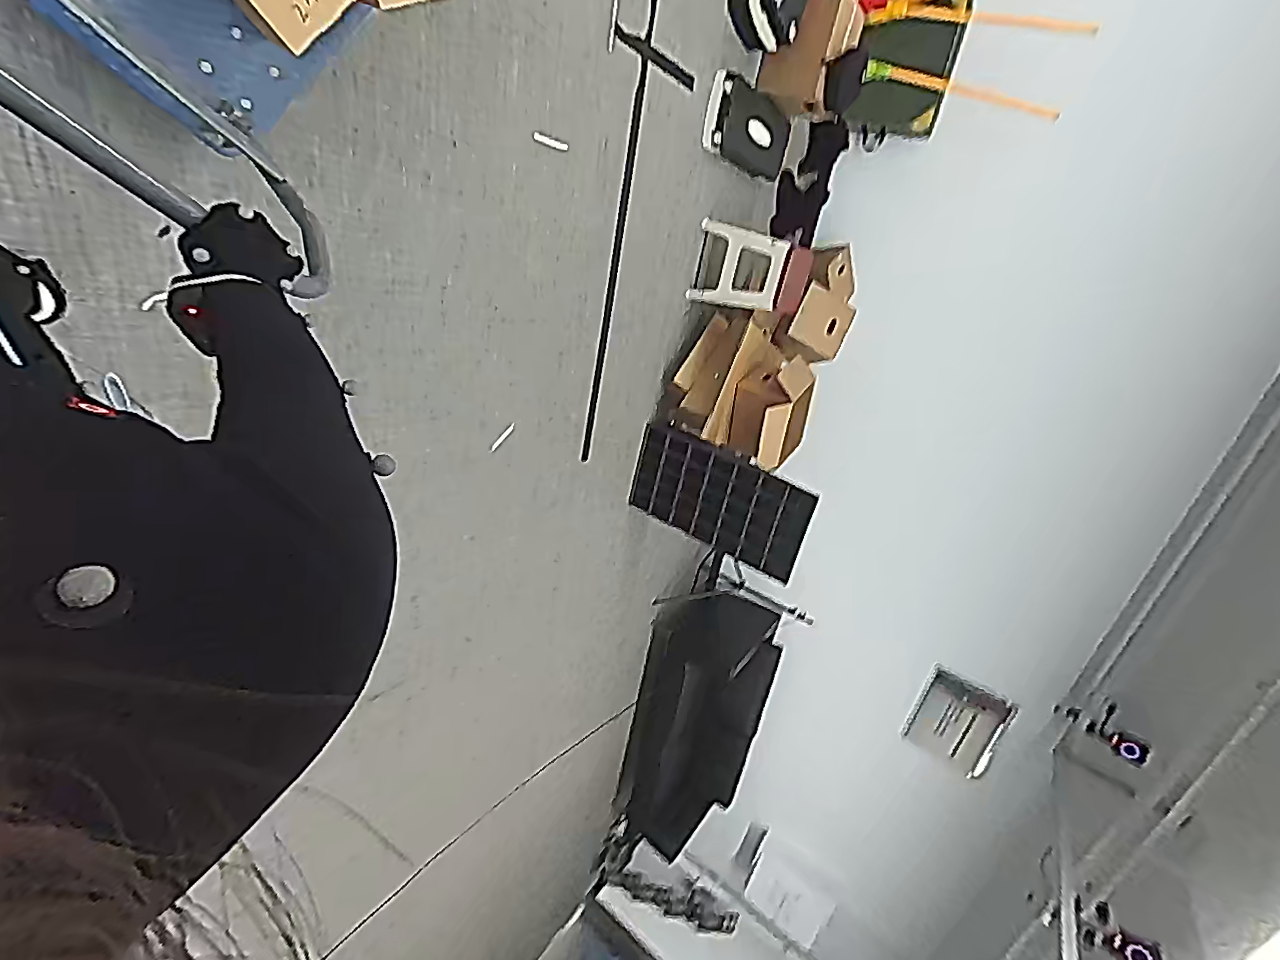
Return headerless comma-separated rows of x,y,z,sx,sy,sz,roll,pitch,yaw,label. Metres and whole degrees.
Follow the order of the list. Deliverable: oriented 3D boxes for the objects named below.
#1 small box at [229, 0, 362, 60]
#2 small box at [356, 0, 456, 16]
-0.590,-0.823,0.859,0.168,0.176,0.179,-46,149,-2,small box
-0.432,-0.934,0.931,0.179,0.176,0.168,-34,147,-21,small box
